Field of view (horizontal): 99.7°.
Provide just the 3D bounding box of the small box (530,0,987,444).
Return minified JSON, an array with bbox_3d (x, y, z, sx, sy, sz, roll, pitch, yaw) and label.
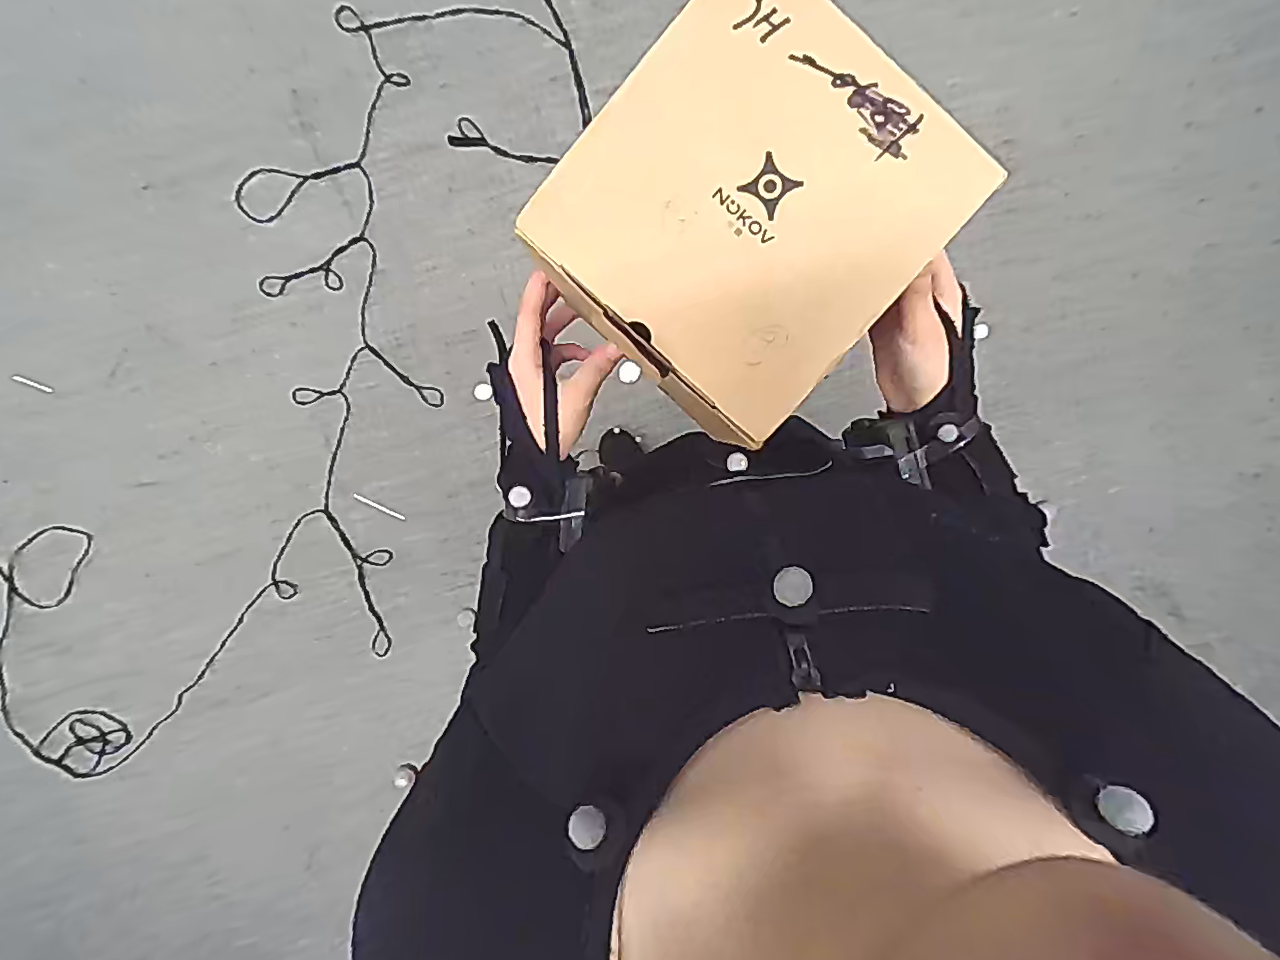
[{"bbox_3d":[0.061,-0.142,0.353,0.168,0.176,0.179,42,96,-3],"label":"small box"}]
